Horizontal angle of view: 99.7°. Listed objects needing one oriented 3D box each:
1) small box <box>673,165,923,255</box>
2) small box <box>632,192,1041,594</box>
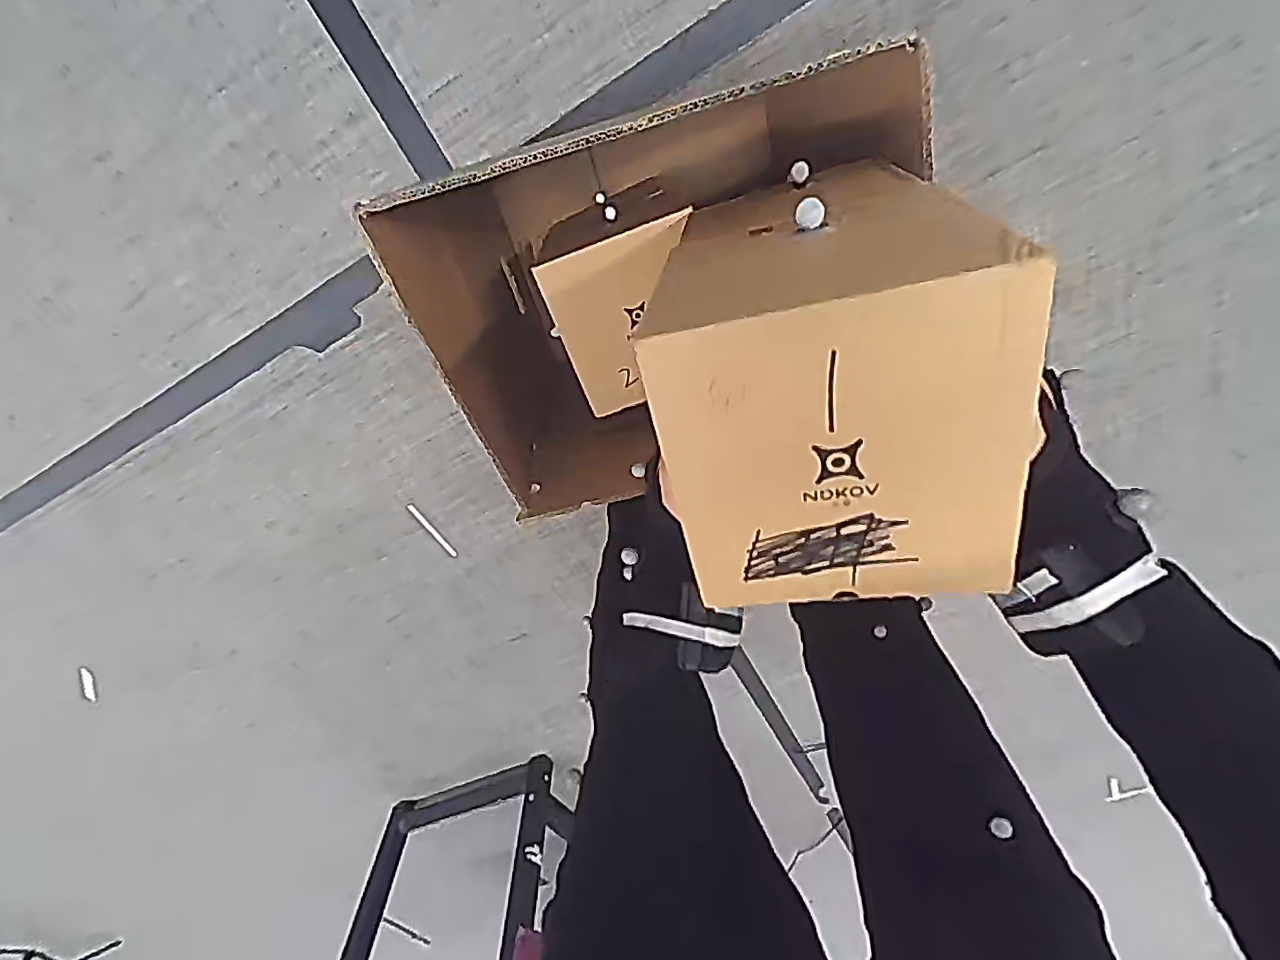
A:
[{"bbox_3d":[0.134,-0.146,0.468,0.168,0.176,0.179,-10,123,15],"label":"small box"},{"bbox_3d":[0.106,-0.054,0.334,0.168,0.176,0.179,-7,124,15],"label":"small box"}]
